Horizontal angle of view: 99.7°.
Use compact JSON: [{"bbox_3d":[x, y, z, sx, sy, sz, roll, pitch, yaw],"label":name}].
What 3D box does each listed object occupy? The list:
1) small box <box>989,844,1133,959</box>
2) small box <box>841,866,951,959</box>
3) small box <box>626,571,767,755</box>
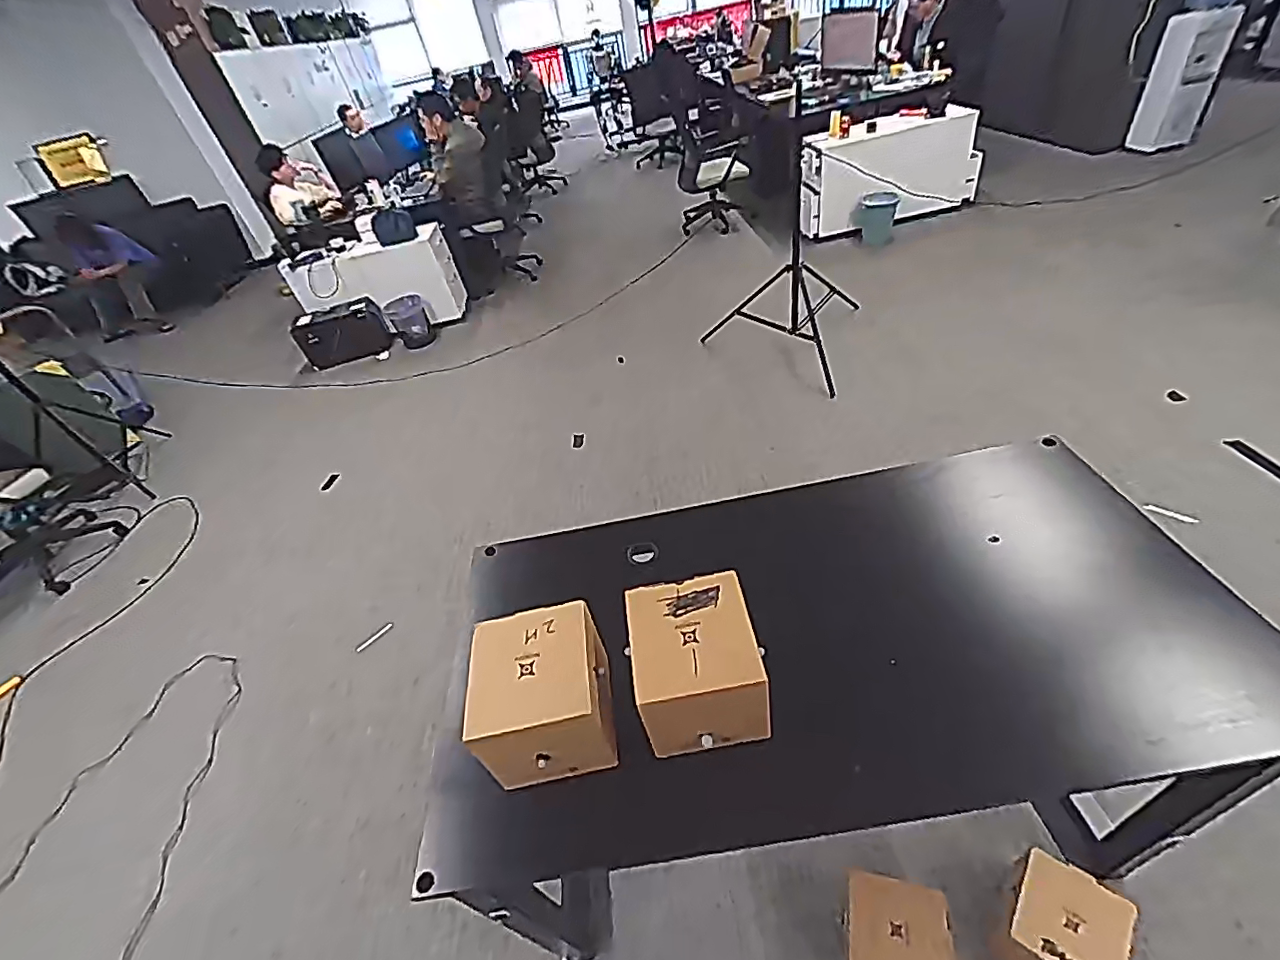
[{"bbox_3d":[0.793,0.851,1.030,0.168,0.176,0.179,21,52,34],"label":"small box"},{"bbox_3d":[0.496,0.898,1.064,0.179,0.176,0.168,2,43,19],"label":"small box"},{"bbox_3d":[0.079,0.262,0.775,0.168,0.176,0.179,-12,42,3],"label":"small box"}]
